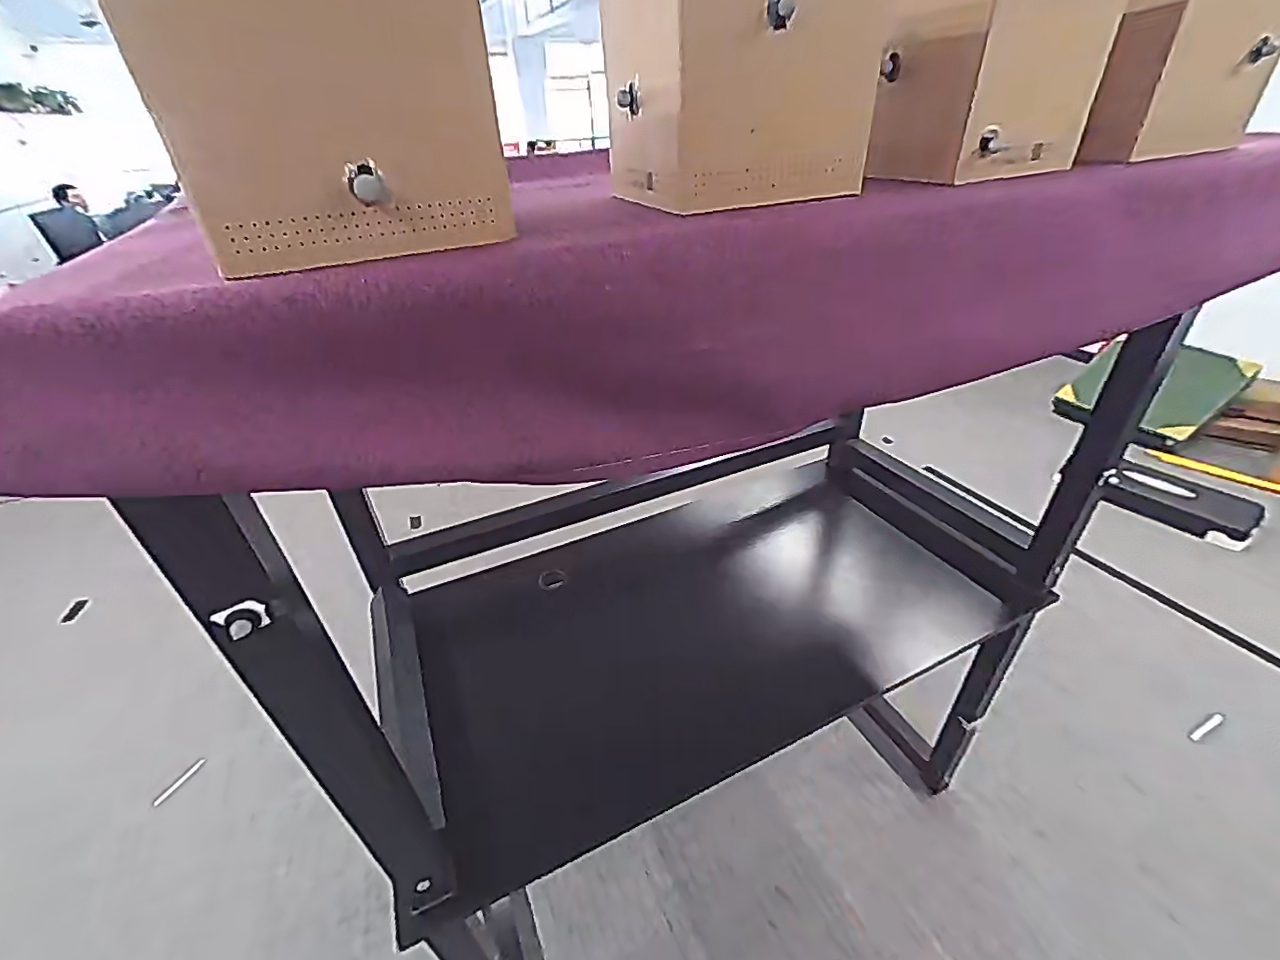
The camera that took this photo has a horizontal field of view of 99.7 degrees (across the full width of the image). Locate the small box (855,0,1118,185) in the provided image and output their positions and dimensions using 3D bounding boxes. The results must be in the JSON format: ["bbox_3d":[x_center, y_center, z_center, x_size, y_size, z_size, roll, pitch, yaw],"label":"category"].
[{"bbox_3d":[0.318,-0.394,0.533,0.168,0.176,0.179,-16,35,-19],"label":"small box"}]

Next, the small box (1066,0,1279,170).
[{"bbox_3d":[0.554,-0.451,0.598,0.179,0.176,0.168,-14,34,-15],"label":"small box"}]

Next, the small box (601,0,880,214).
[{"bbox_3d":[0.079,-0.331,0.458,0.179,0.176,0.168,-14,36,-16],"label":"small box"}]

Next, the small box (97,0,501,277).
[{"bbox_3d":[-0.199,-0.240,0.345,0.179,0.176,0.168,-20,37,-25],"label":"small box"}]
